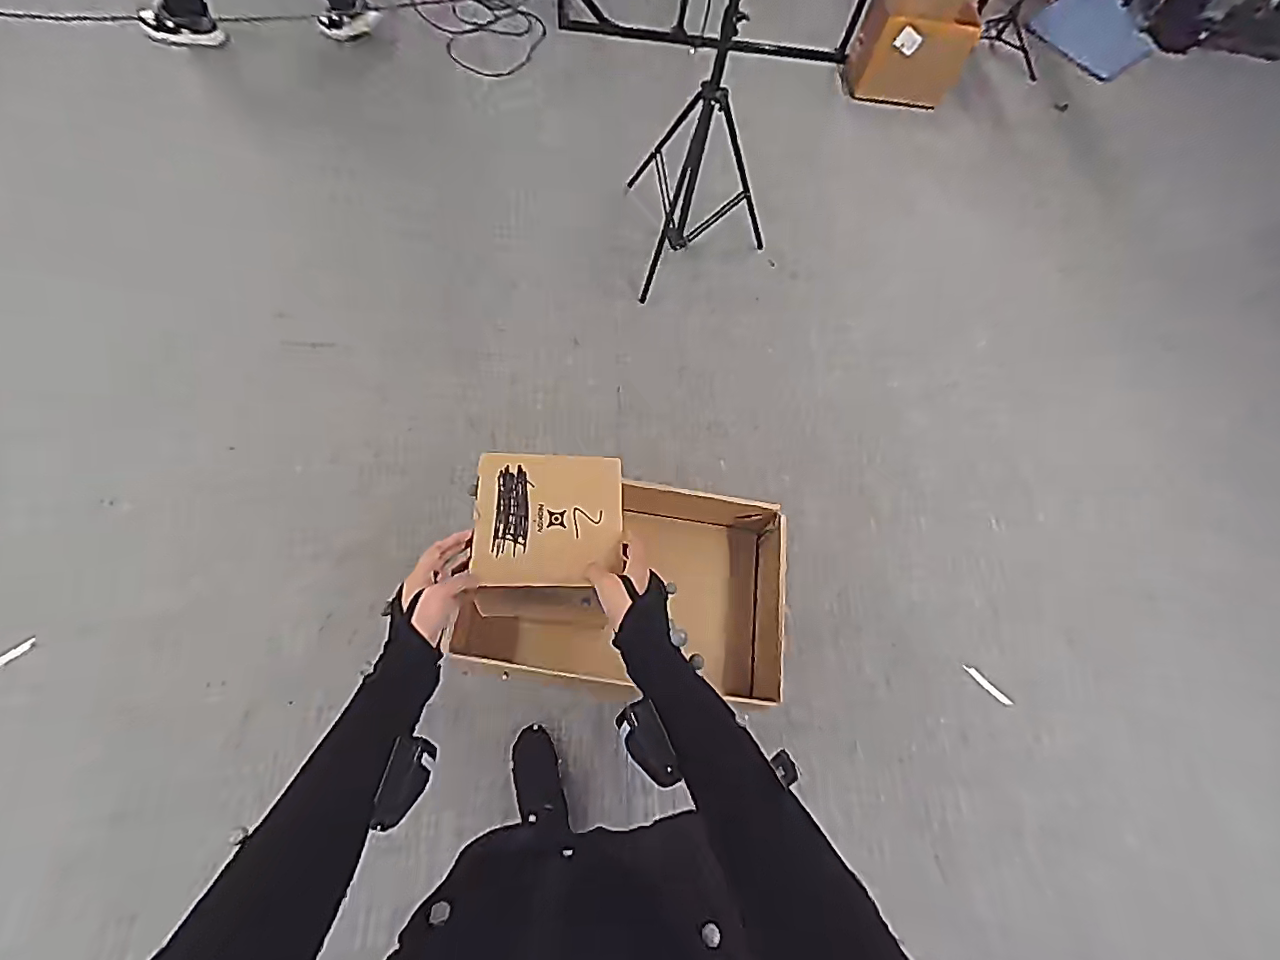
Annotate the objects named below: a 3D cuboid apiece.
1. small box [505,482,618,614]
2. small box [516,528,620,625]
[{"bbox_3d":[-0.130,0.121,0.925,0.168,0.176,0.179,4,66,-5],"label":"small box"},{"bbox_3d":[-0.141,0.189,1.074,0.179,0.176,0.168,7,66,-6],"label":"small box"}]
